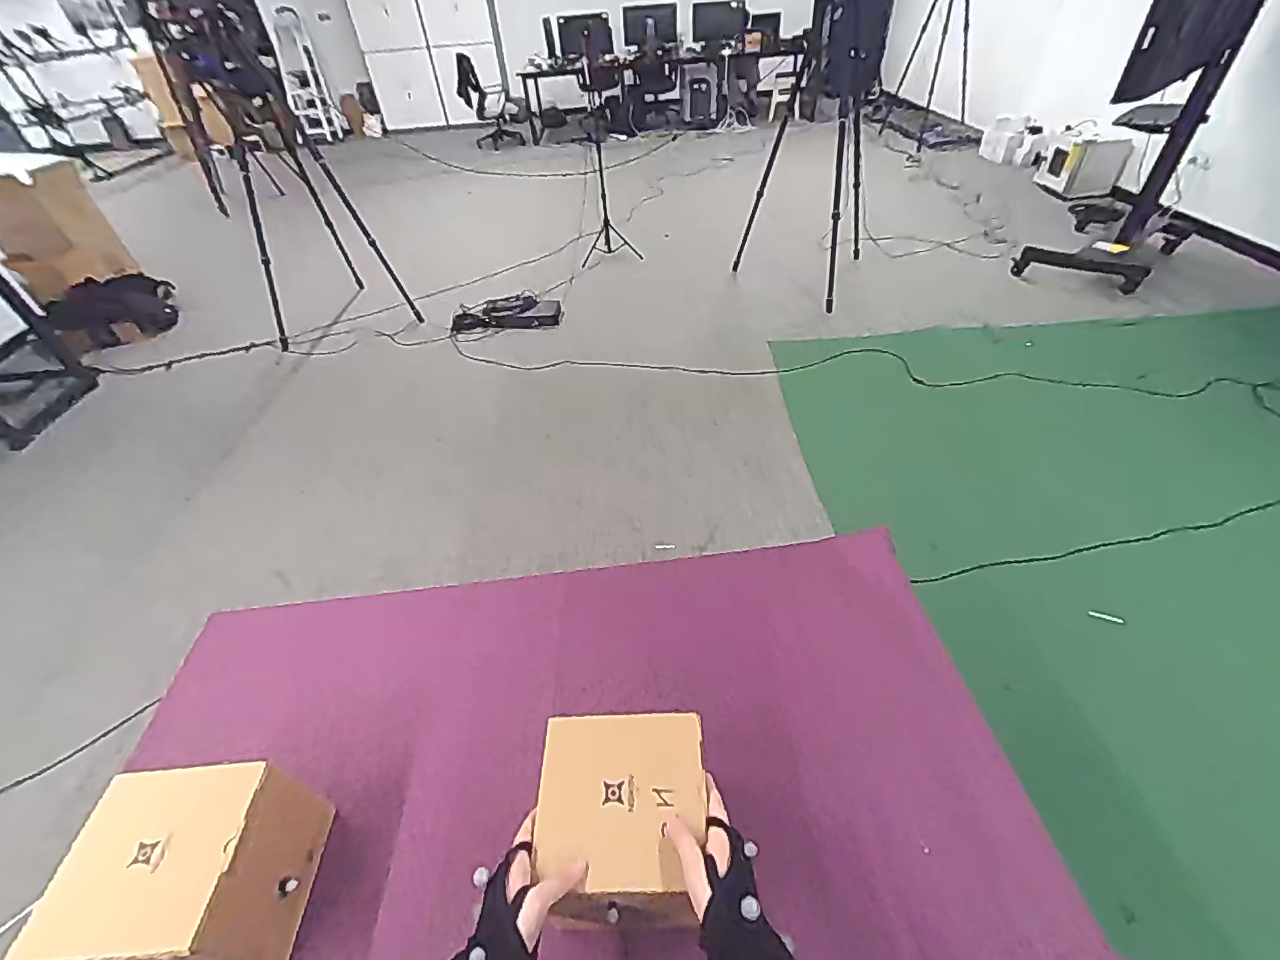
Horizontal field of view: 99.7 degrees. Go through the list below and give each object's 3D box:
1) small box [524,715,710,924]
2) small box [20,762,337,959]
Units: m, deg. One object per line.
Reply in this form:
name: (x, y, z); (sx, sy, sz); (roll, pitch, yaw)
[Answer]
small box: (-0.014, 0.385, 0.612); (0.179, 0.176, 0.168); (-3, 43, 4)
small box: (-0.489, 0.443, 0.611); (0.179, 0.176, 0.168); (-5, 42, 0)
